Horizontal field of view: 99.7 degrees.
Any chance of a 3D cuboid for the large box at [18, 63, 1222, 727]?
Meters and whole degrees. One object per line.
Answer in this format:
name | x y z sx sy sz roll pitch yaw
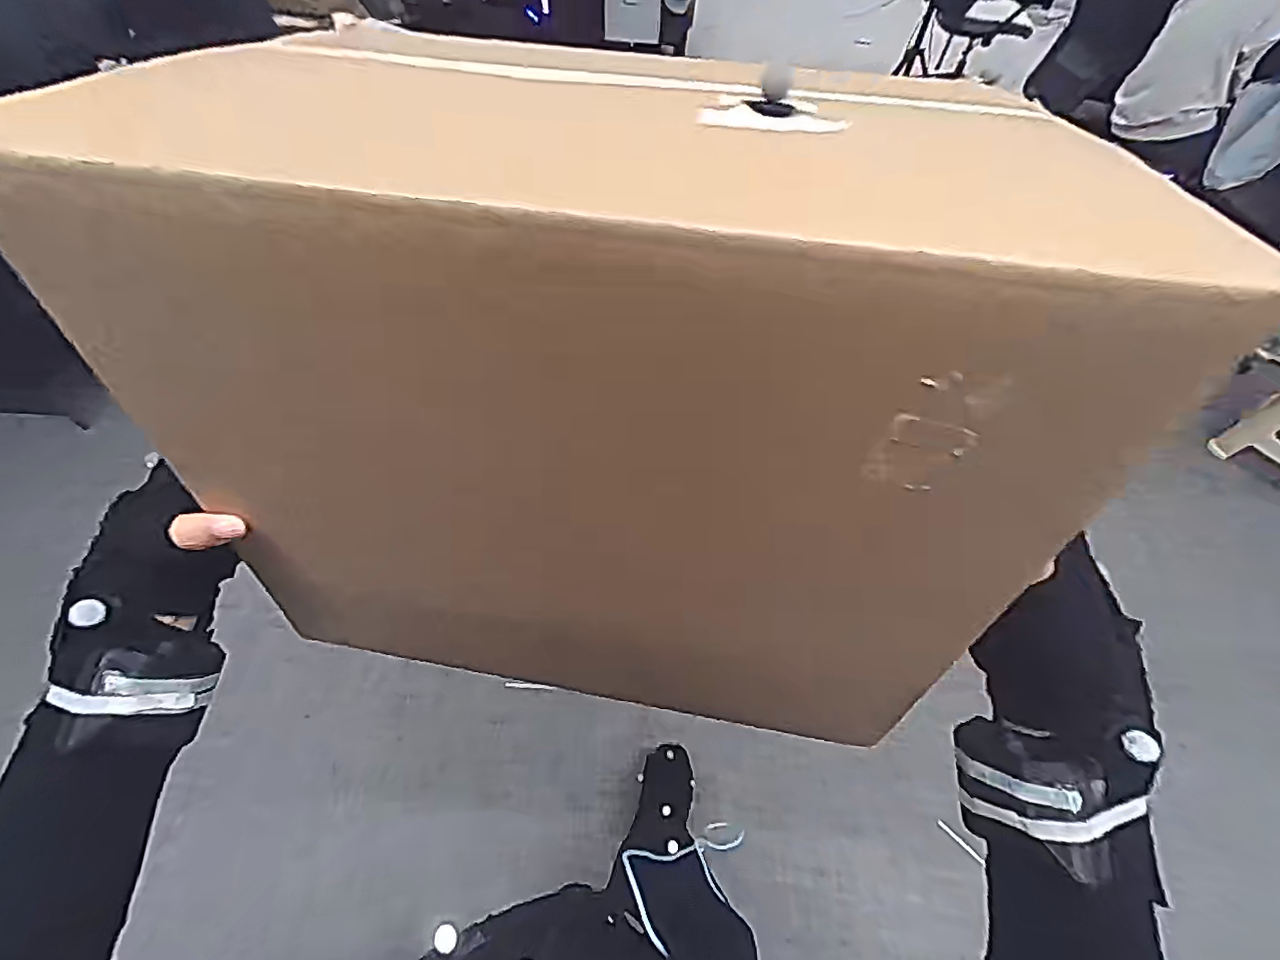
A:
large box | -0.009 -0.070 0.381 0.408 0.320 0.320 9 45 5
